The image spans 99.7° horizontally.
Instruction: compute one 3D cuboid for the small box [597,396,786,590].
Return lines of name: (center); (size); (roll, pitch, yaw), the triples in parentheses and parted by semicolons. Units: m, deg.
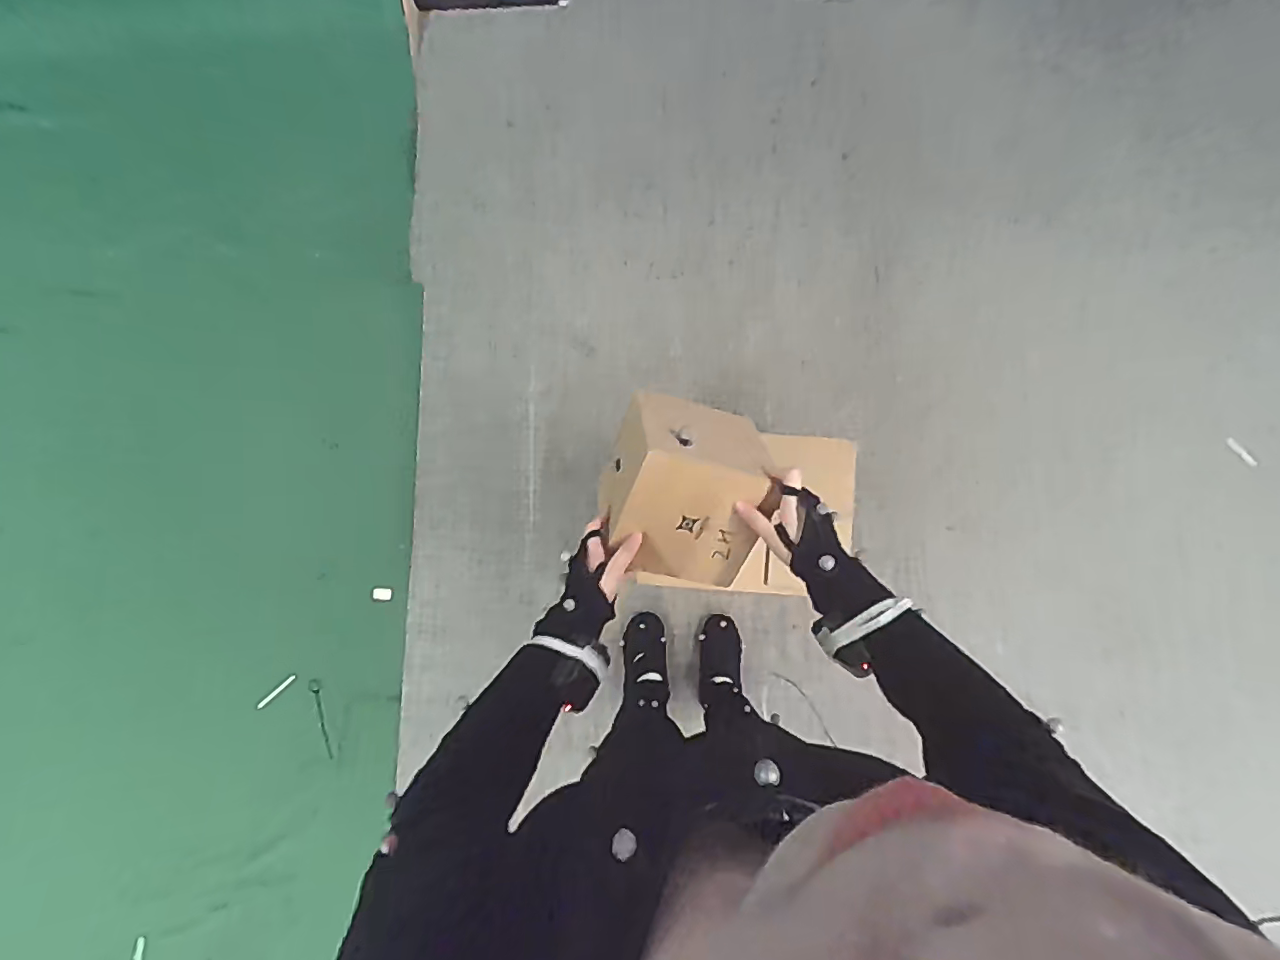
small box: (0.049, 0.011, 0.688); (0.179, 0.176, 0.168); (13, 122, -16)
